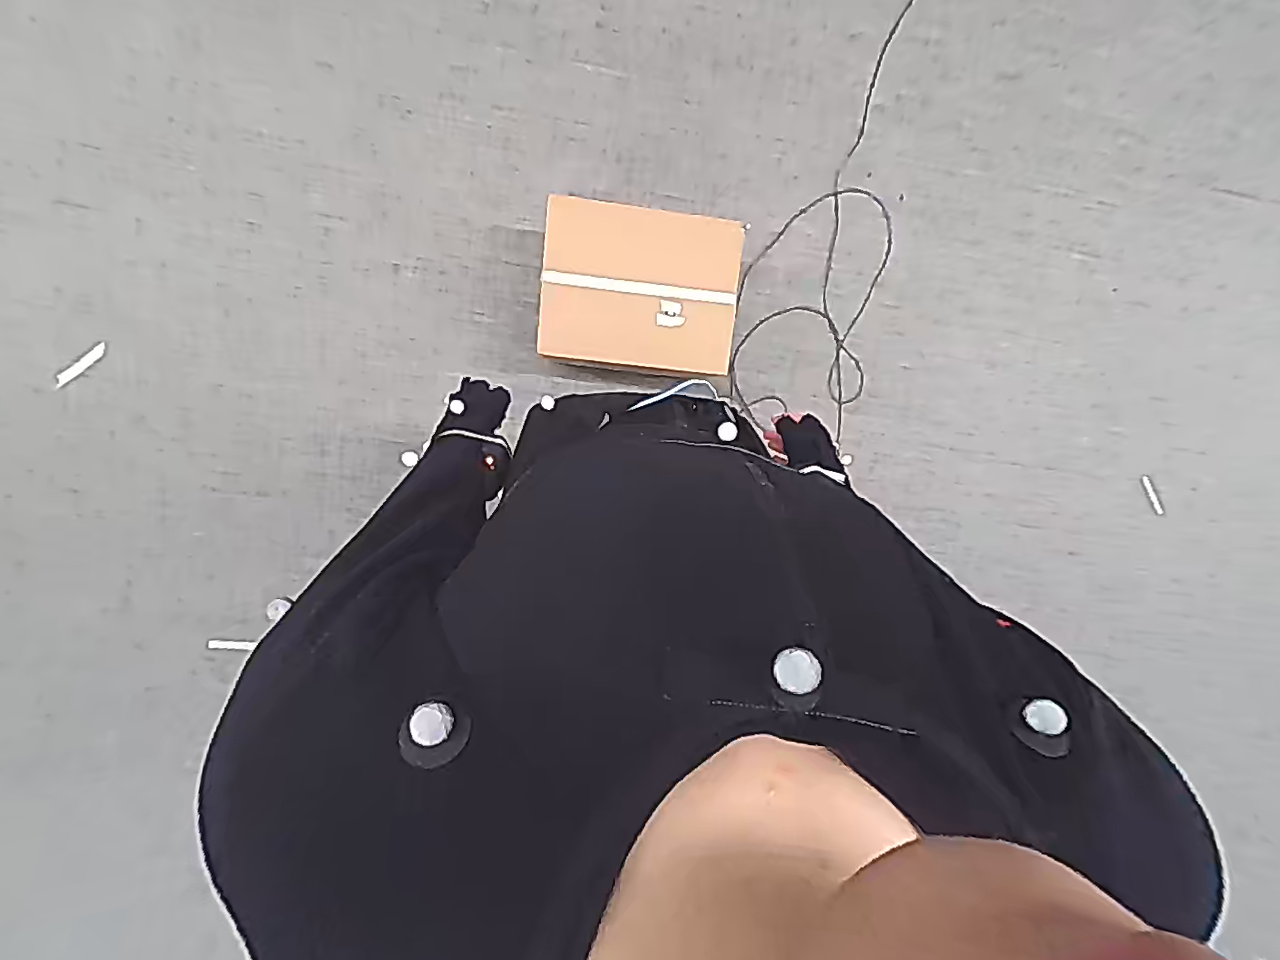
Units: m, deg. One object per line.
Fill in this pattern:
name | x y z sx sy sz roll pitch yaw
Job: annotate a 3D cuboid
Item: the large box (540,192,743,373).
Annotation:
large box | -0.014 -0.430 1.262 0.408 0.320 0.320 5 99 -7
